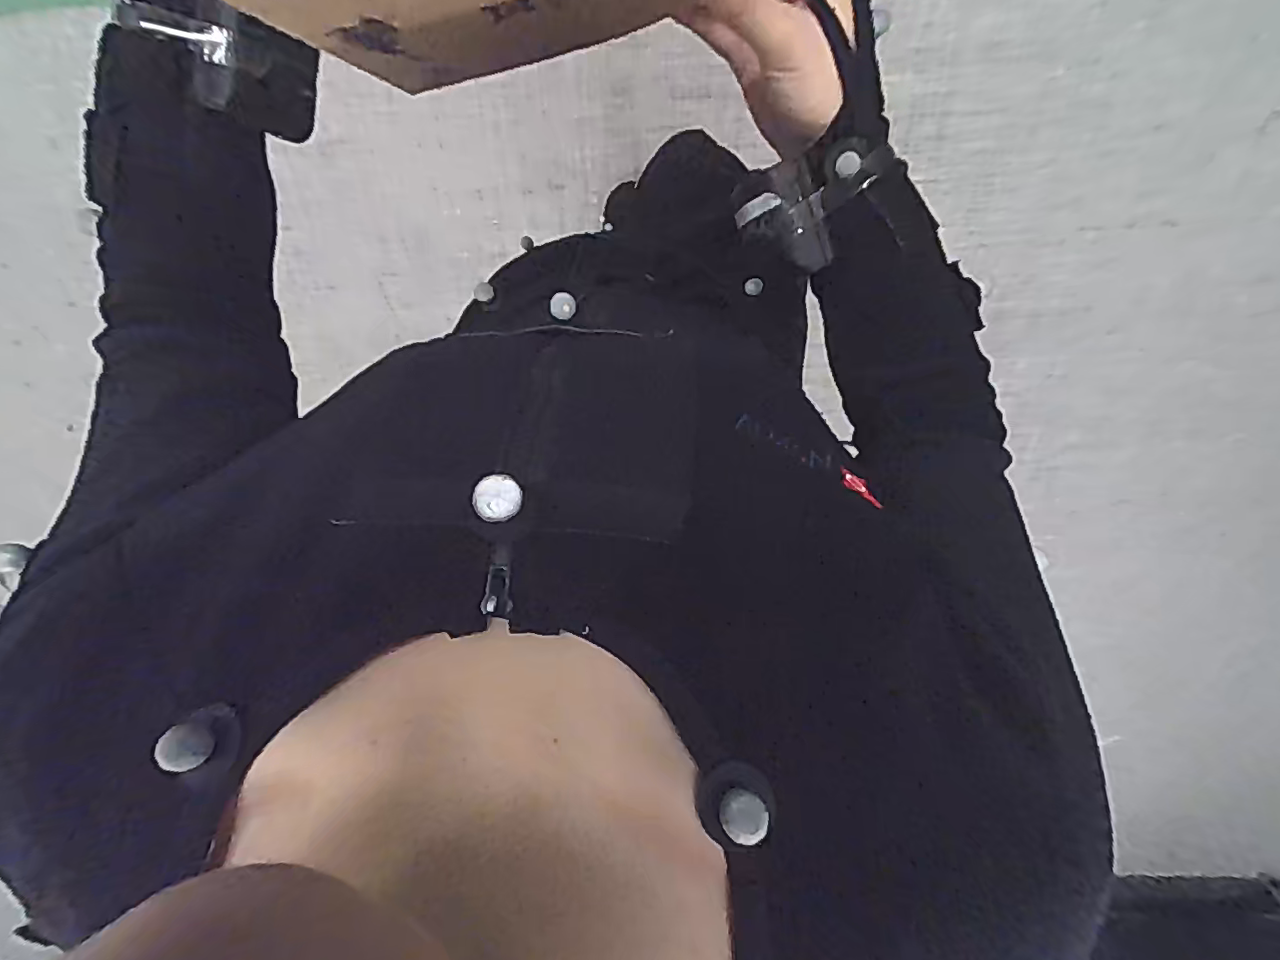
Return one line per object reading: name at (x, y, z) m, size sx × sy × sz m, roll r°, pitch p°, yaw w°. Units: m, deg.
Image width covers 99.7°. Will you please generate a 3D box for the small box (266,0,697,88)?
small box at (-0.066, -0.284, 0.201) m, size 0.179 × 0.168 × 0.176 m, roll -13°, pitch 115°, yaw 5°
